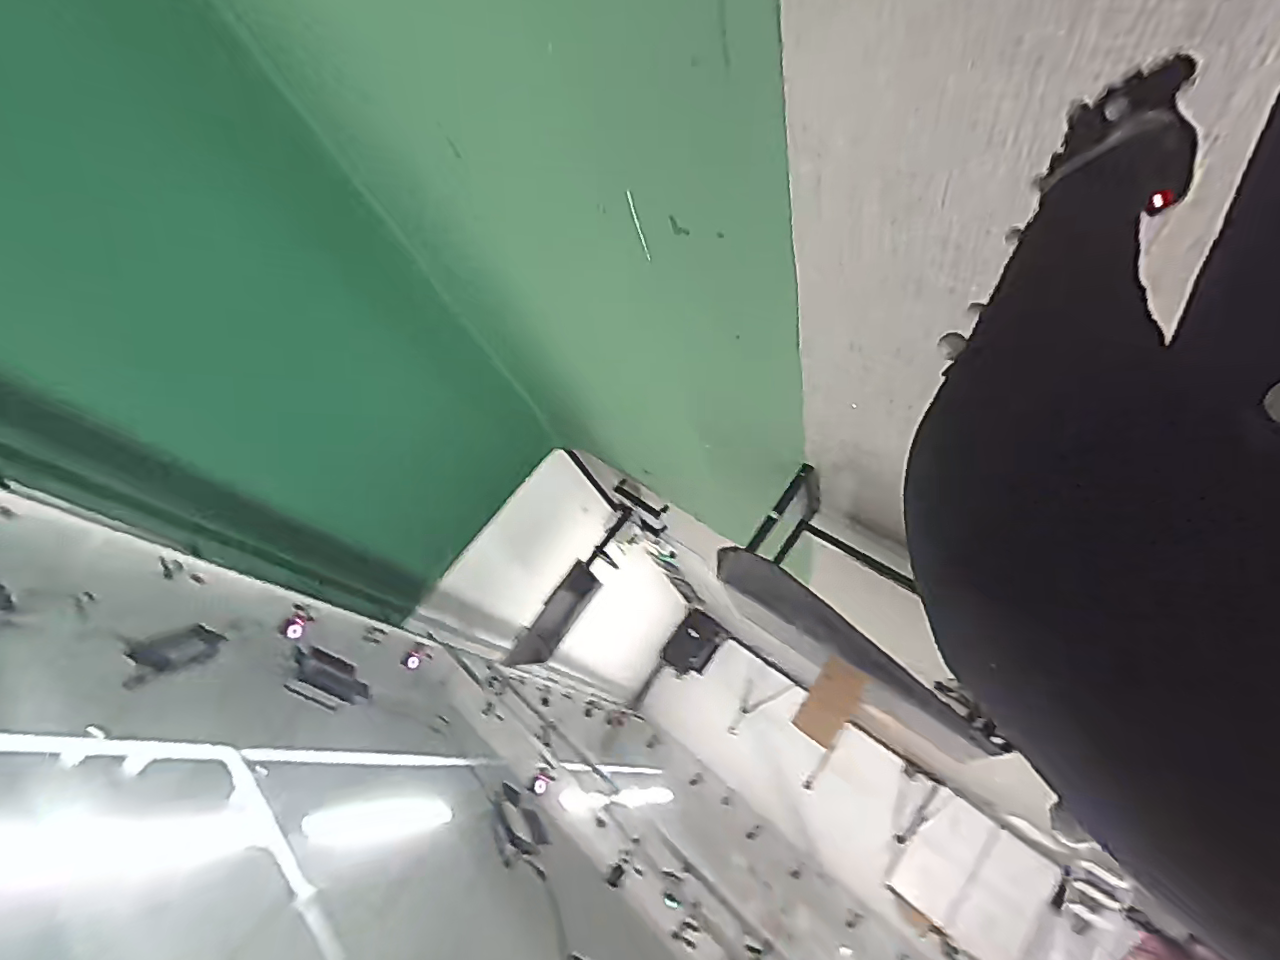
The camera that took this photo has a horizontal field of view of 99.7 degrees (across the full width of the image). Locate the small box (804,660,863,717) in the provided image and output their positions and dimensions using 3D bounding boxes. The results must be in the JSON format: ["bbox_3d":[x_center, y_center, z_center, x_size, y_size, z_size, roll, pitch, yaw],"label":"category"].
[{"bbox_3d":[0.832,0.896,2.330,0.179,0.176,0.168,29,166,31],"label":"small box"}]

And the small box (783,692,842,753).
[{"bbox_3d":[0.736,1.025,2.299,0.179,0.176,0.168,31,167,31],"label":"small box"}]
